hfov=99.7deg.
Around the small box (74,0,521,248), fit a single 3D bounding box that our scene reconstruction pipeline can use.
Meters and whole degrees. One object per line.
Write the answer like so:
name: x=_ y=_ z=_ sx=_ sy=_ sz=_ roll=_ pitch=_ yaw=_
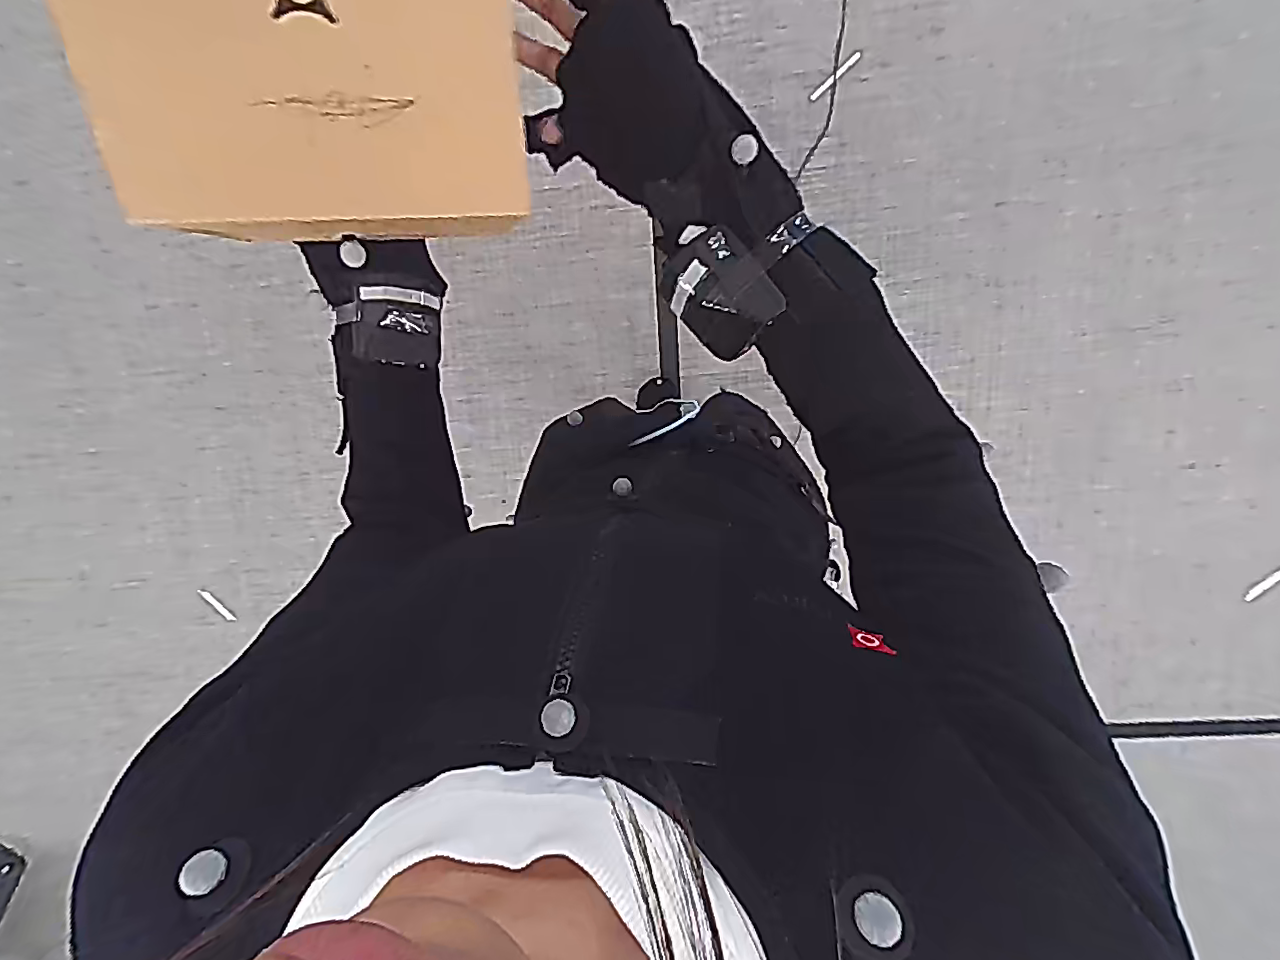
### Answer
small box: x=-0.165 y=-0.231 z=0.299 sx=0.168 sy=0.176 sz=0.179 roll=-9 pitch=112 yaw=-14
